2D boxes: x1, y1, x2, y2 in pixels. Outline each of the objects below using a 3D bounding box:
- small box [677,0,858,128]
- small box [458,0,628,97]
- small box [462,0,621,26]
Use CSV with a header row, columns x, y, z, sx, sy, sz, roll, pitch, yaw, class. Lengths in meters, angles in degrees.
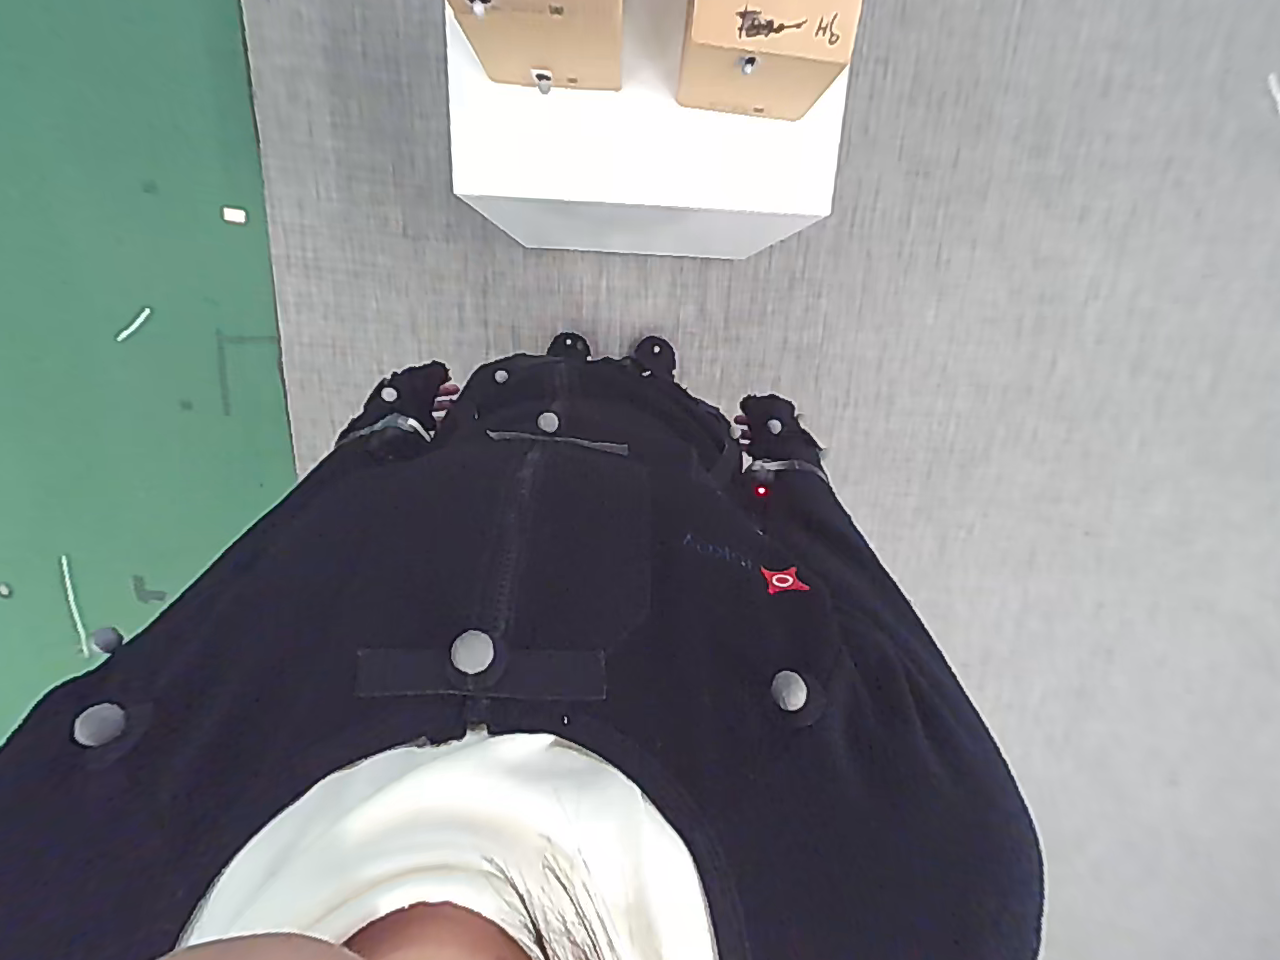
x,y,z,sx,sy,sz,roll,pitch,yaw,class
0.137,-0.531,0.603,0.168,0.176,0.179,6,105,-3,small box
-0.098,-0.556,0.593,0.168,0.176,0.179,1,107,-1,small box
-0.095,-0.512,0.435,0.168,0.176,0.179,3,105,-2,small box
